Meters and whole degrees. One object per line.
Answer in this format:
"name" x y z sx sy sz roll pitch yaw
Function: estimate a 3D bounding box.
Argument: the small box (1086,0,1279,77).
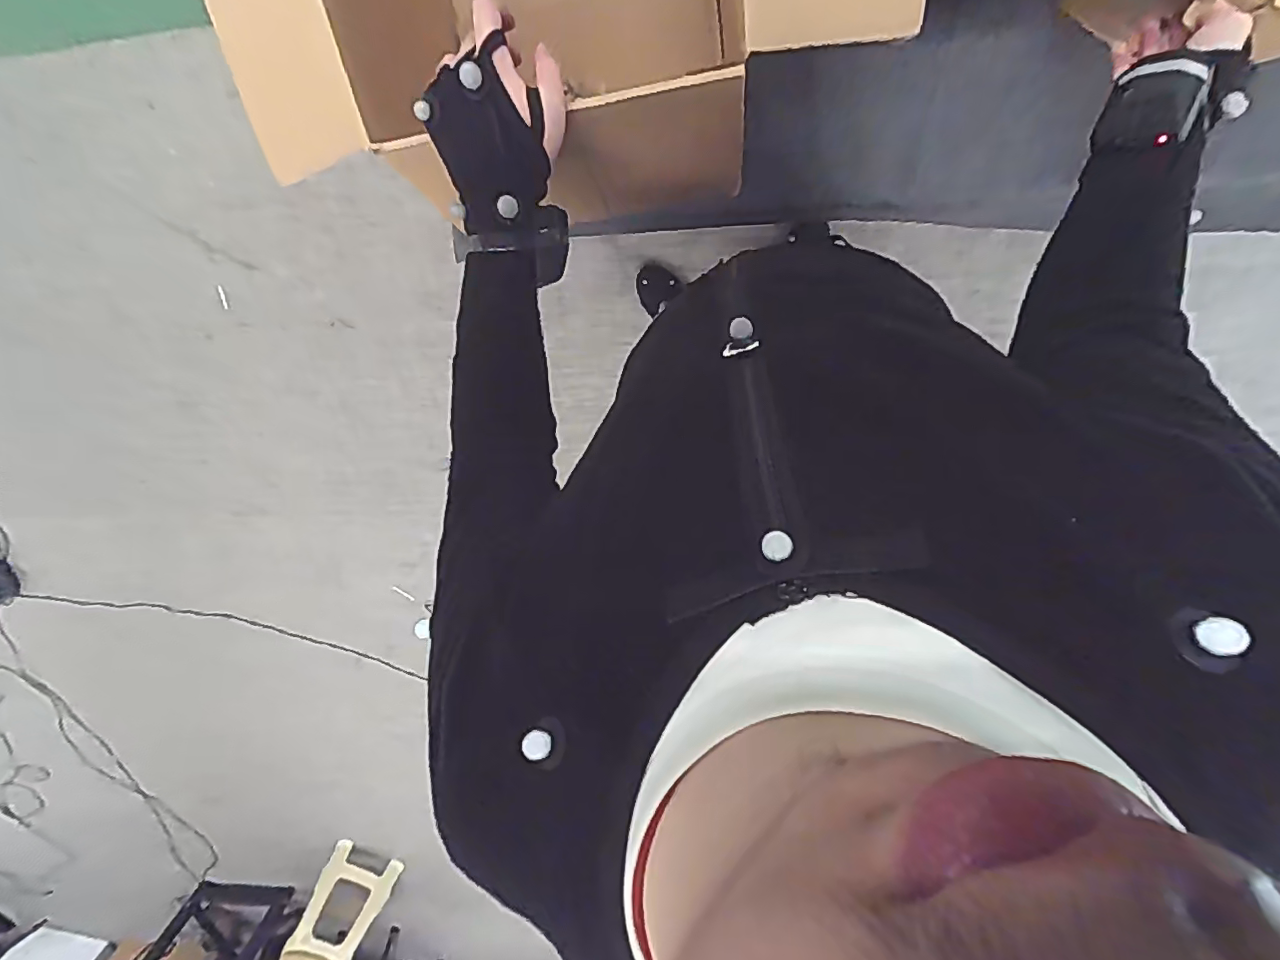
"small box" 0.555 -0.506 0.481 0.168 0.176 0.179 30 117 -7
